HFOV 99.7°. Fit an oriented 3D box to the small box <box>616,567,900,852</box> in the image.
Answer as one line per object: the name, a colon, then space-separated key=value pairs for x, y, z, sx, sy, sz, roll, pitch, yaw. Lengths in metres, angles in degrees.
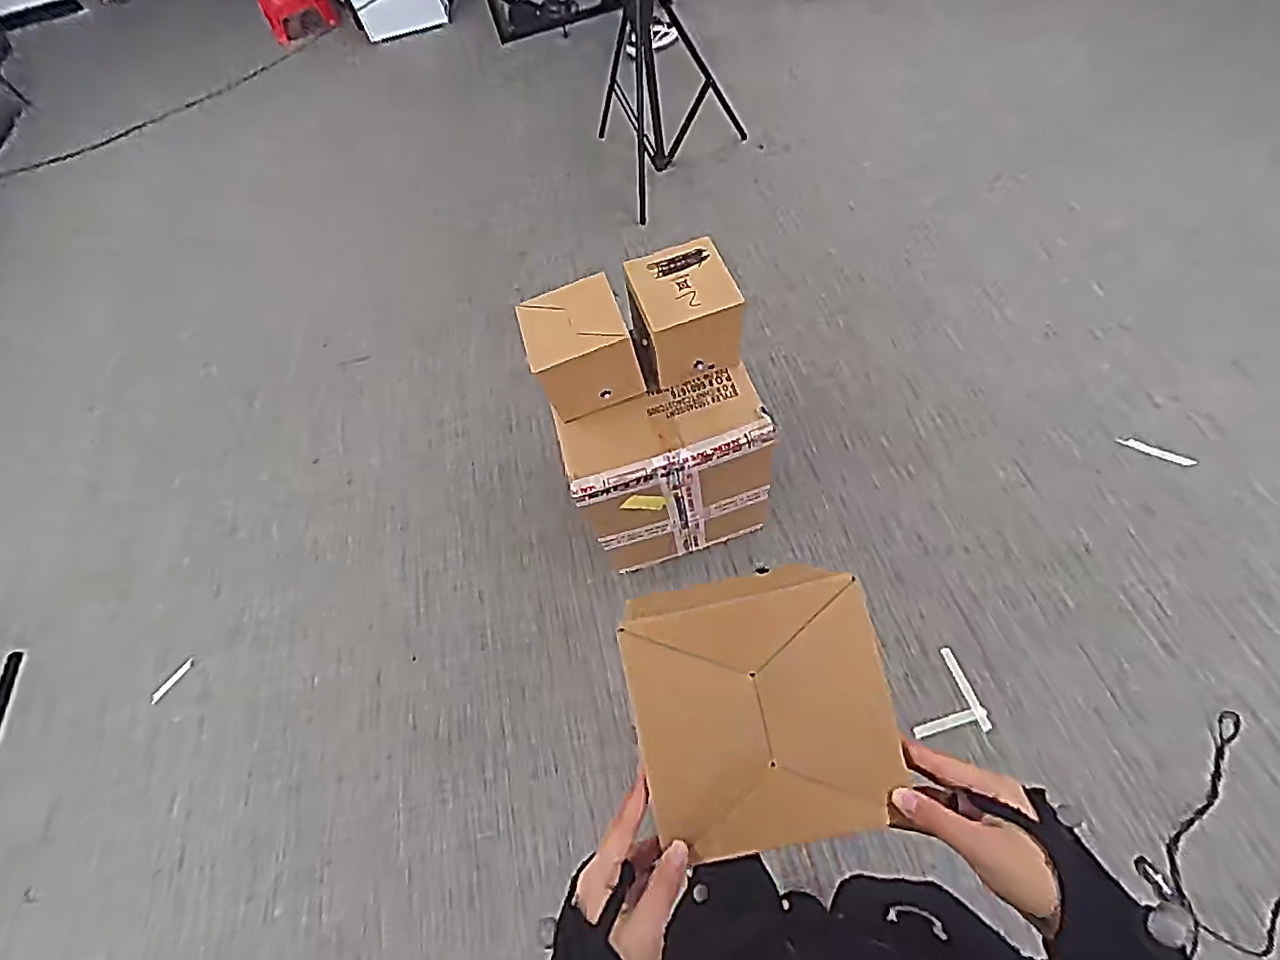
small box: x=0.081 y=0.174 z=0.456 sx=0.179 sy=0.176 sz=0.168 roll=-12 pitch=84 yaw=1

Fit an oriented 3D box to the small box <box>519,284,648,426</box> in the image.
small box: x=-0.102 y=-0.234 z=1.010 sx=0.179 sy=0.176 sz=0.168 roll=-20 pitch=62 yaw=2
